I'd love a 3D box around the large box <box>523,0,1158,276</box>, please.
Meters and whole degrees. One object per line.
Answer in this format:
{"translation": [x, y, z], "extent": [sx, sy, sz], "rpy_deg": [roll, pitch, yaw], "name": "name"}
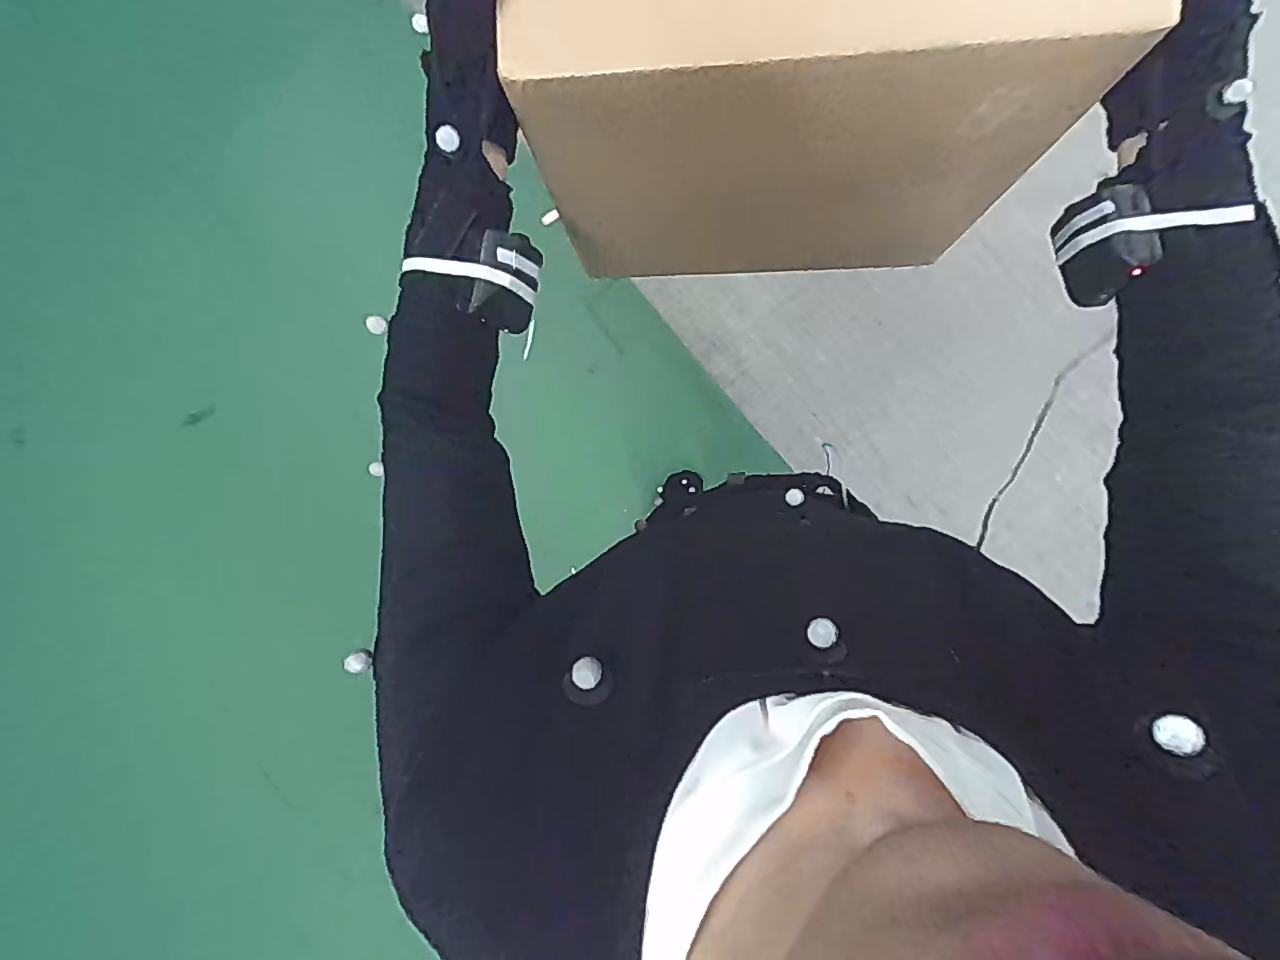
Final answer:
{"translation": [0.127, -0.407, 0.501], "extent": [0.408, 0.320, 0.320], "rpy_deg": [0, 87, 4], "name": "large box"}
